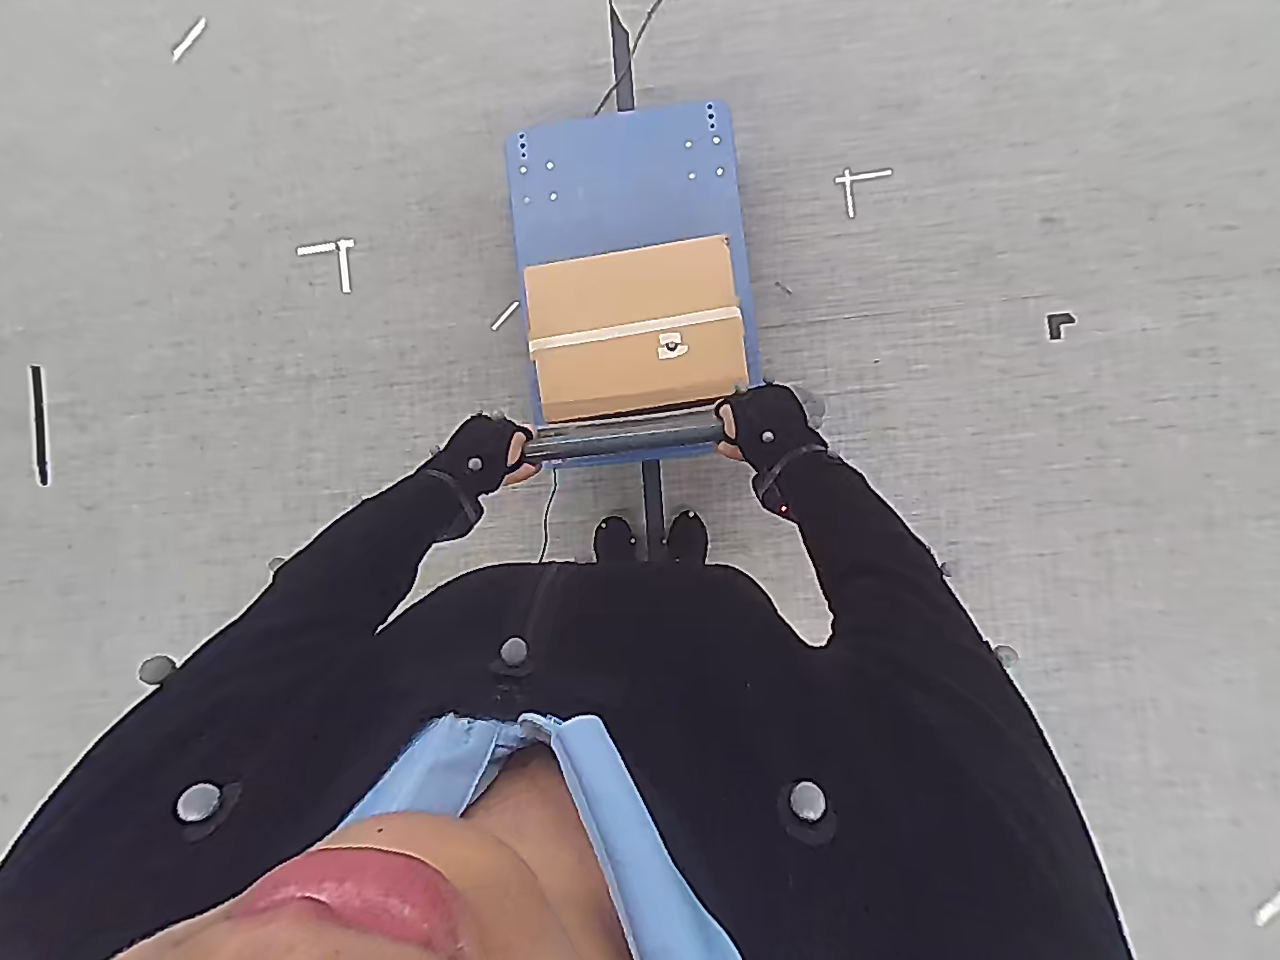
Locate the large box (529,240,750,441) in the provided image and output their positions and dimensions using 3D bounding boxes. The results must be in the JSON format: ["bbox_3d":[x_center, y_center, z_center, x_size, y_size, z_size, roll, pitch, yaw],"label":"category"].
[{"bbox_3d":[0.003,-0.284,1.211,0.408,0.320,0.320,-9,89,3],"label":"large box"}]
